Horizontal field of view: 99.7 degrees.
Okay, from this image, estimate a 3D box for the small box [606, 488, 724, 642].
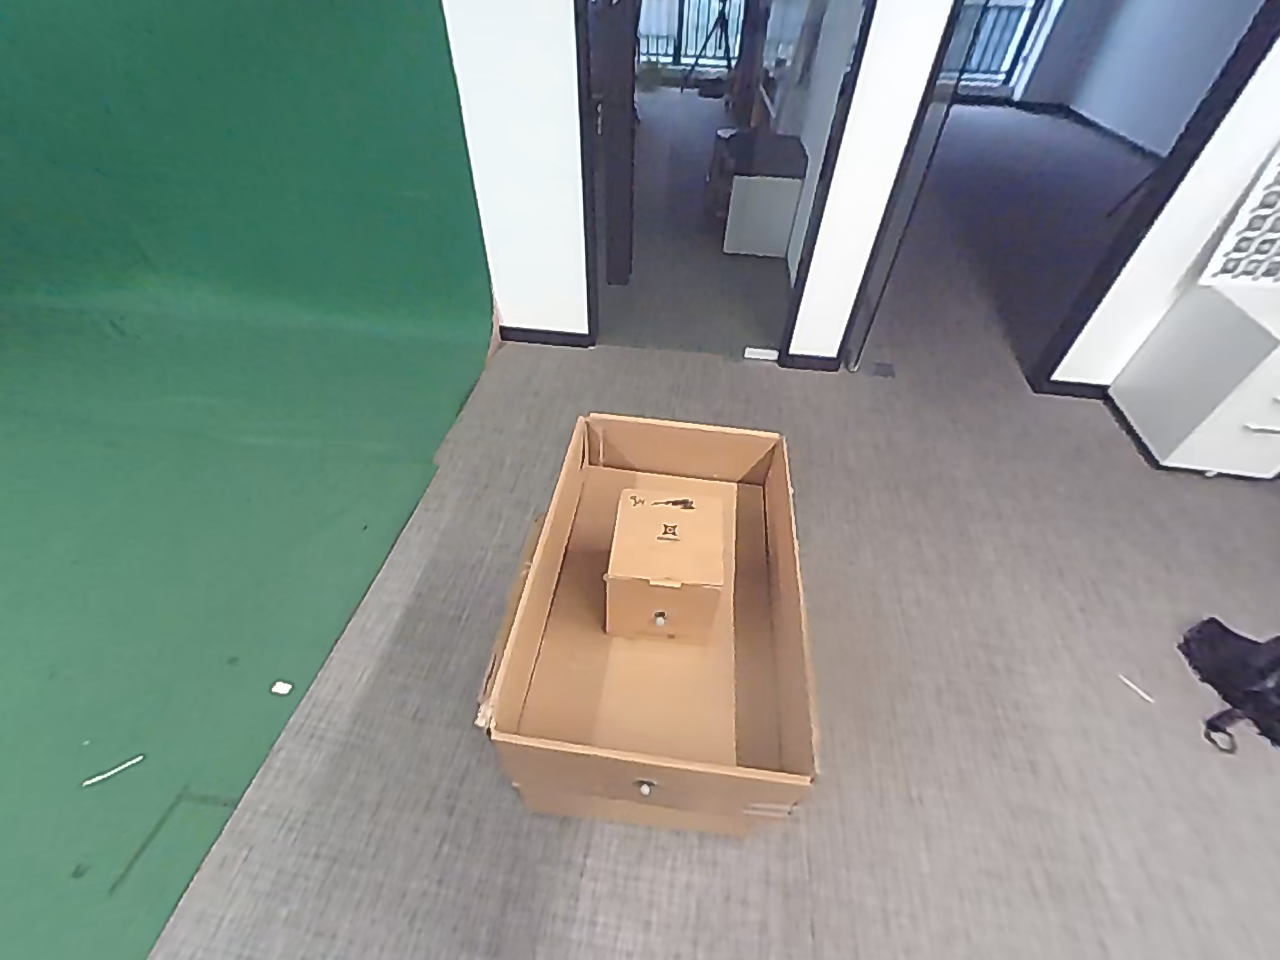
[{"bbox_3d":[0.041,0.139,0.869,0.168,0.176,0.179,6,45,3],"label":"small box"}]
